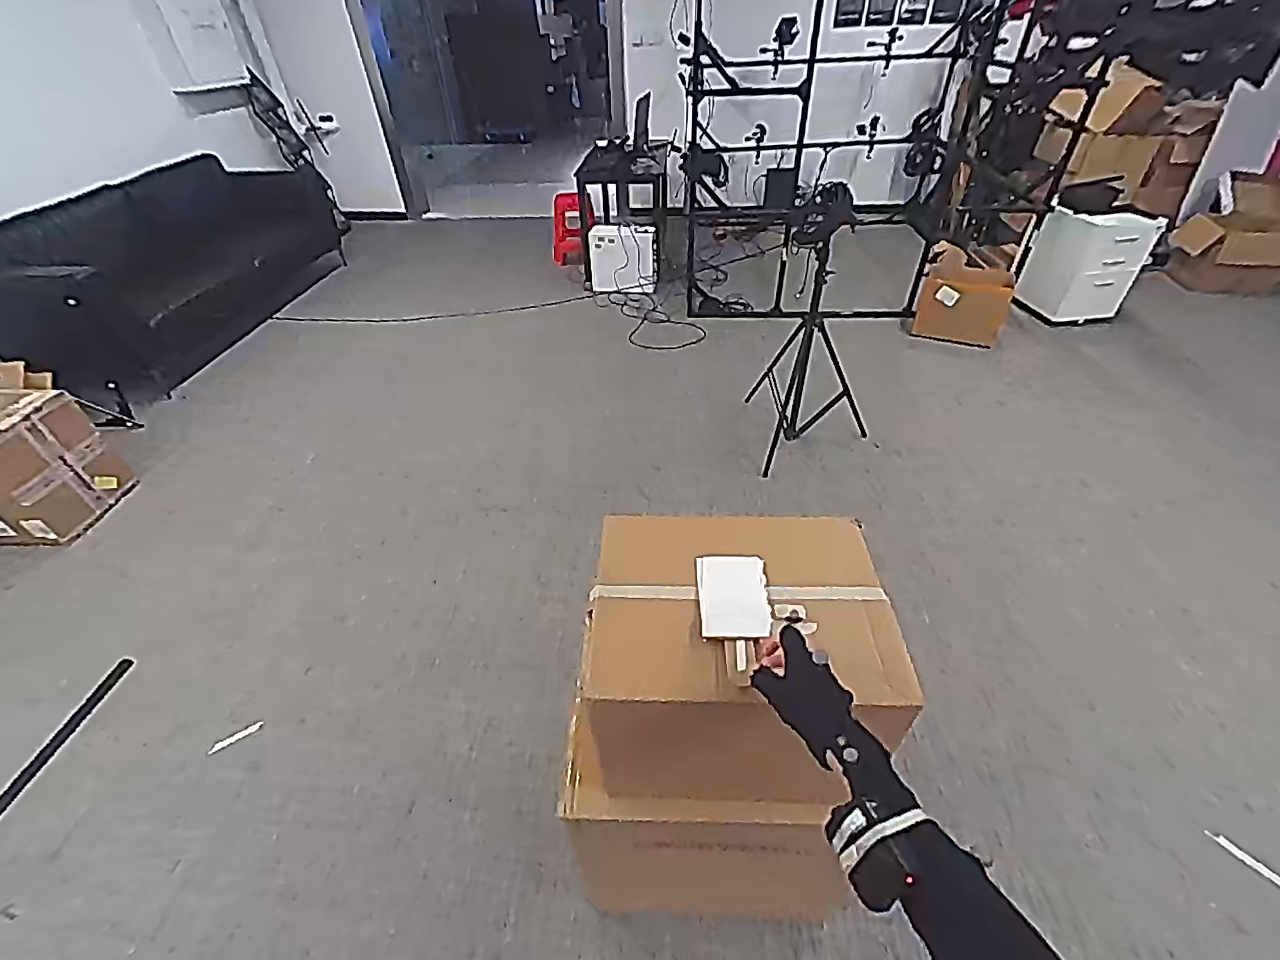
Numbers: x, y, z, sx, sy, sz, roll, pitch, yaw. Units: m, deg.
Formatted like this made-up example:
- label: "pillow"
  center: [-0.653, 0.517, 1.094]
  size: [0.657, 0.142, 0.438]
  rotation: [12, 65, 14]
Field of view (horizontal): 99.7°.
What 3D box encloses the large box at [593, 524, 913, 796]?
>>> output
- label: "large box"
  center: [0.142, 0.285, 0.870]
  size: [0.408, 0.320, 0.320]
  rotation: [0, 41, 2]
